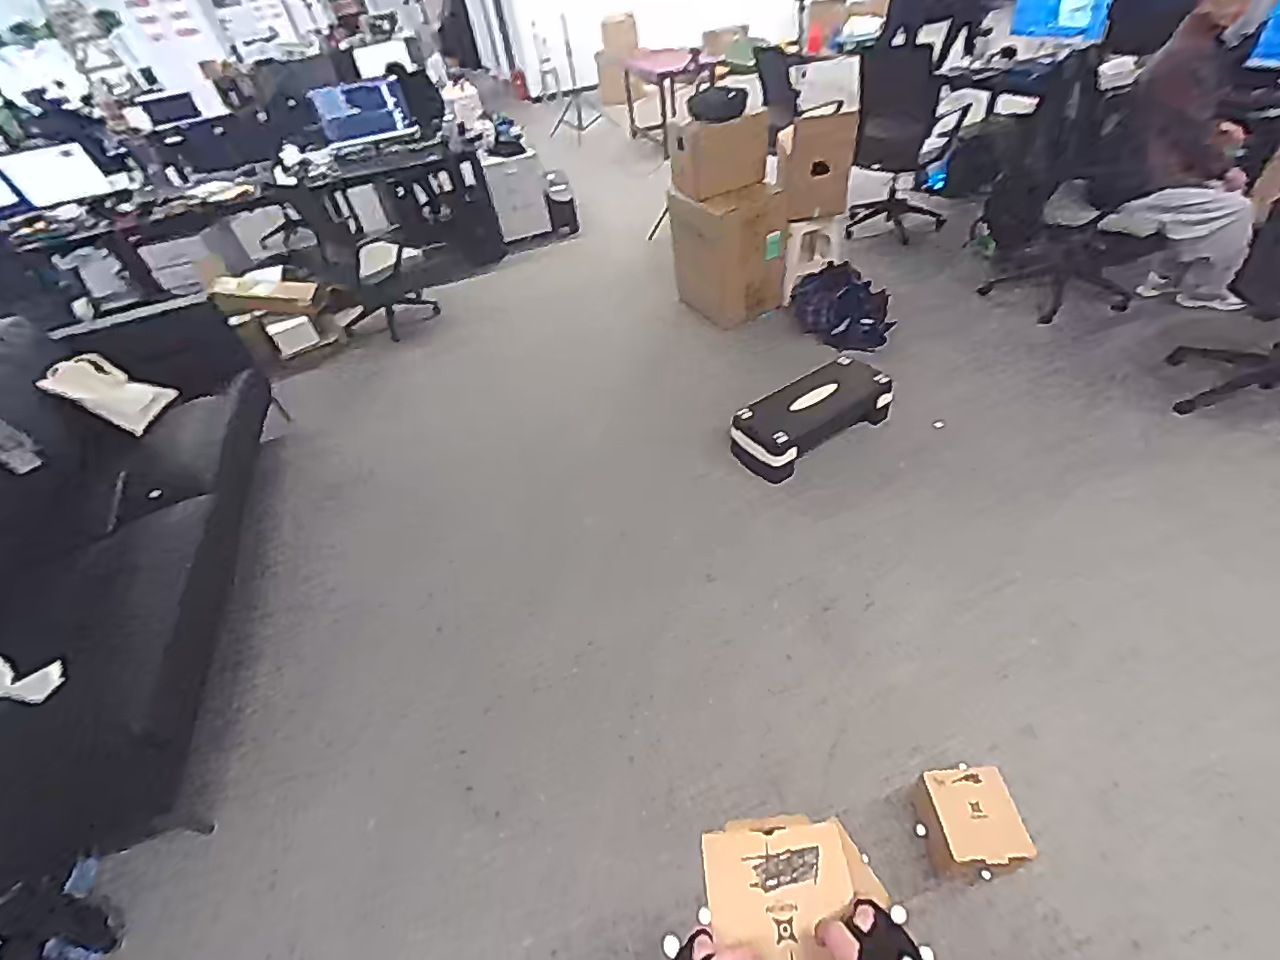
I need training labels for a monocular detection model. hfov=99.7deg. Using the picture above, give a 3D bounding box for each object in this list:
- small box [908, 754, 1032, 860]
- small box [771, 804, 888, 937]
[{"bbox_3d":[0.733,0.745,1.225,0.168,0.176,0.179,-7,45,5],"label":"small box"},{"bbox_3d":[0.405,0.857,1.182,0.168,0.176,0.179,-24,45,-14],"label":"small box"}]
